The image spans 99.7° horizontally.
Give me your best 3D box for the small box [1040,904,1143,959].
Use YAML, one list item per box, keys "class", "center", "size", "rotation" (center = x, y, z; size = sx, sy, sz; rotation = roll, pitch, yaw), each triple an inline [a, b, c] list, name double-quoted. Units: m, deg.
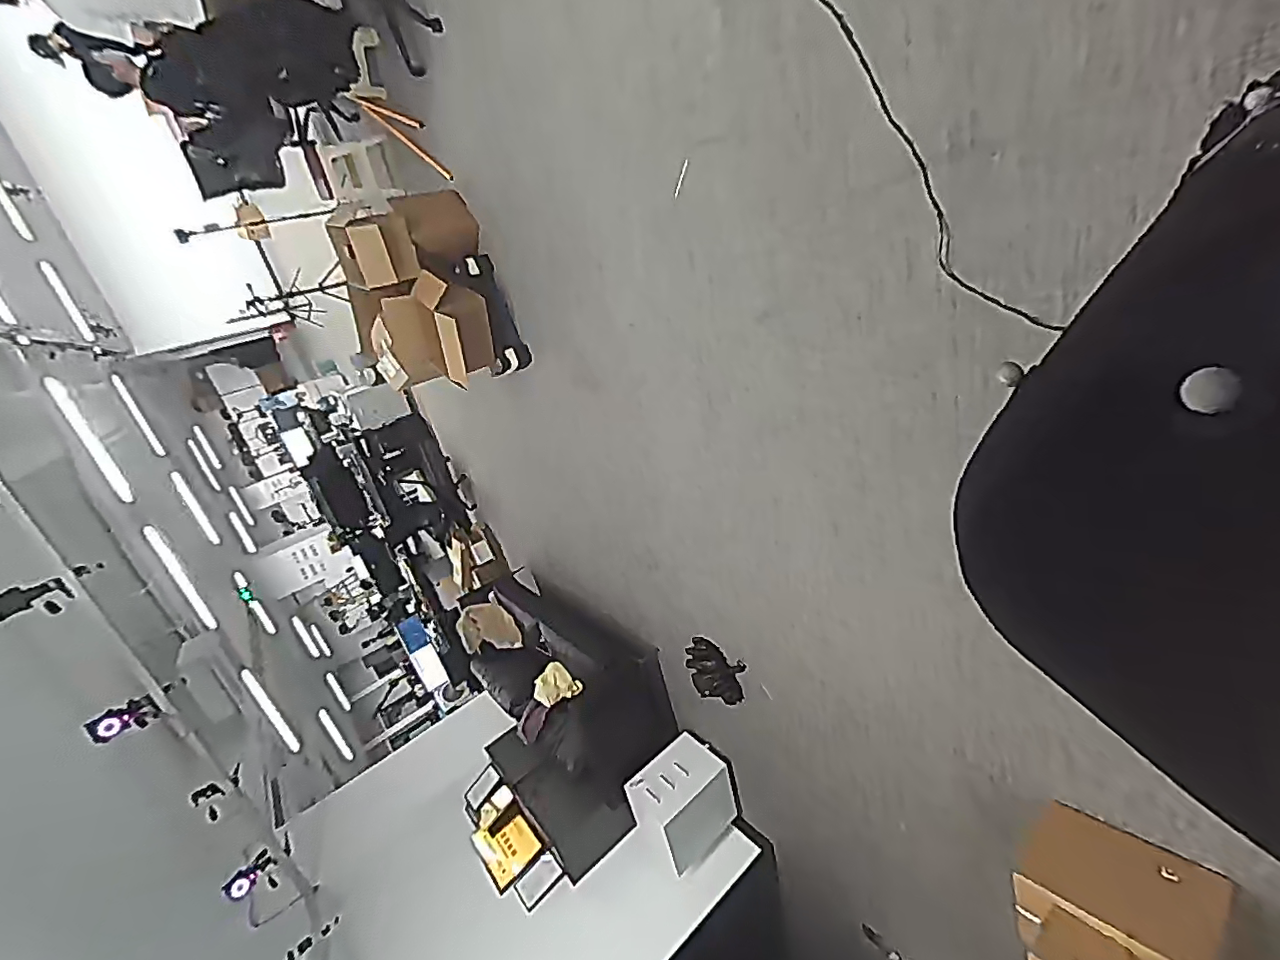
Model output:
- class: "small box"
  center: [1.194, 1.290, 1.428]
  size: [0.179, 0.176, 0.168]
  rotation: [11, 122, 55]
